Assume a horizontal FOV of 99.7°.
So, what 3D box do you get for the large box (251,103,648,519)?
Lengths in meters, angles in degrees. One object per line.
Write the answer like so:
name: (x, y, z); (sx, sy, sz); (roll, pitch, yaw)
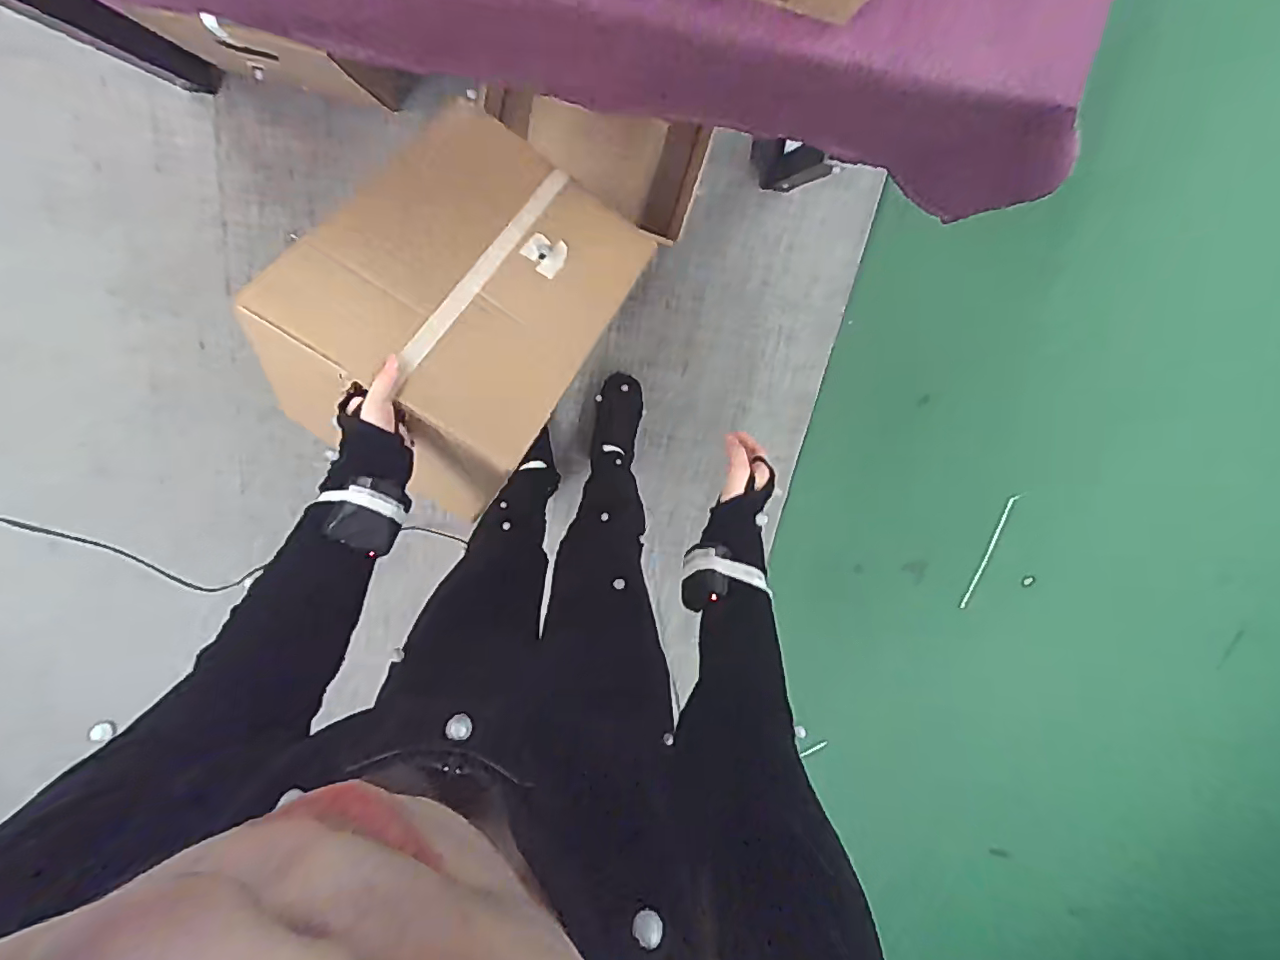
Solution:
large box: (-0.245, -0.210, 0.778); (0.320, 0.320, 0.408); (32, 63, -13)
